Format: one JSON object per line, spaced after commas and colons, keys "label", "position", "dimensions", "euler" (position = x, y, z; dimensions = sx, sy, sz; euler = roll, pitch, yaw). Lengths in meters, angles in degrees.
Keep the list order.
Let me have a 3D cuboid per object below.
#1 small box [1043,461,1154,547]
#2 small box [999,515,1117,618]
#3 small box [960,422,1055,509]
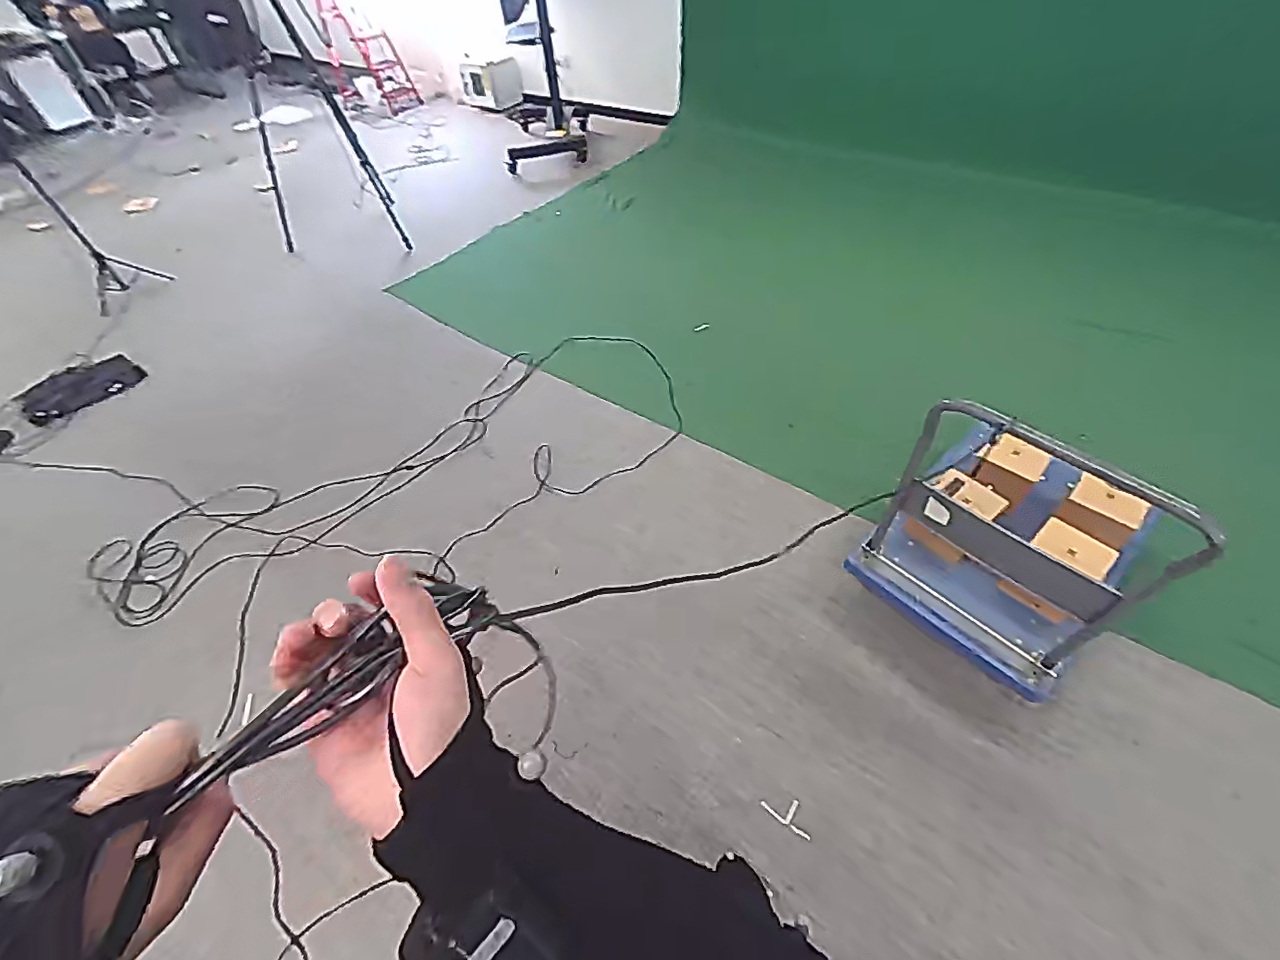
{"label": "small box", "position": [1.313, 0.085, 1.560], "dimensions": [0.168, 0.176, 0.179], "euler": [35, 62, 30]}
{"label": "small box", "position": [1.113, 0.234, 1.455], "dimensions": [0.179, 0.176, 0.168], "euler": [-36, 56, -22]}
{"label": "small box", "position": [1.132, -0.041, 1.681], "dimensions": [0.168, 0.176, 0.179], "euler": [36, 61, 28]}
